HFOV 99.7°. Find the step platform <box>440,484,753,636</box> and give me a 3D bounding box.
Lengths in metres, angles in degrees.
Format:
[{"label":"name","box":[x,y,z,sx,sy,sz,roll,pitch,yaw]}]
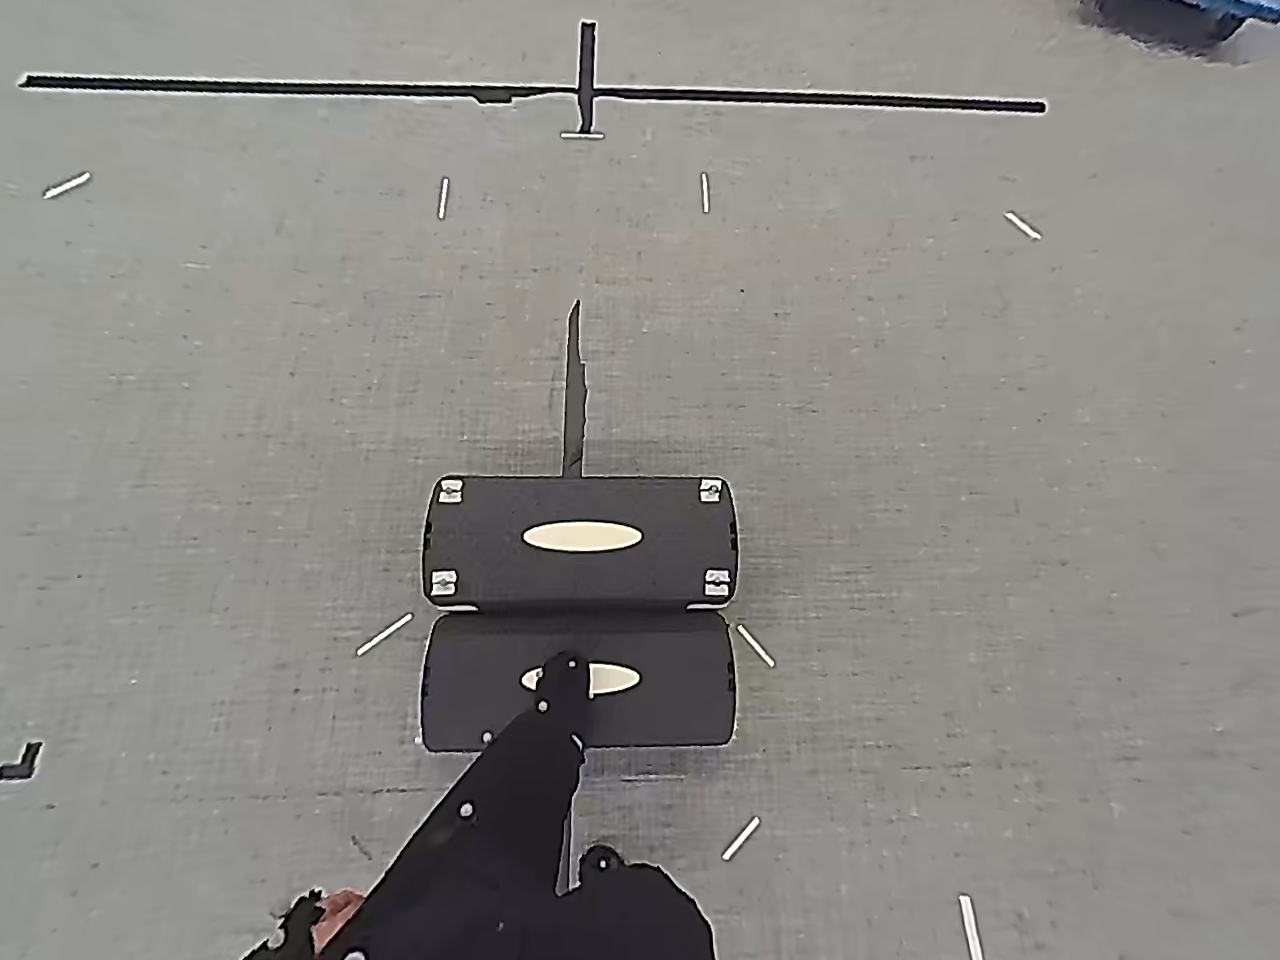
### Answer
[{"label":"step platform","box":[-0.091,0.185,1.233,0.684,0.204,0.286,5,70,-2]}]
